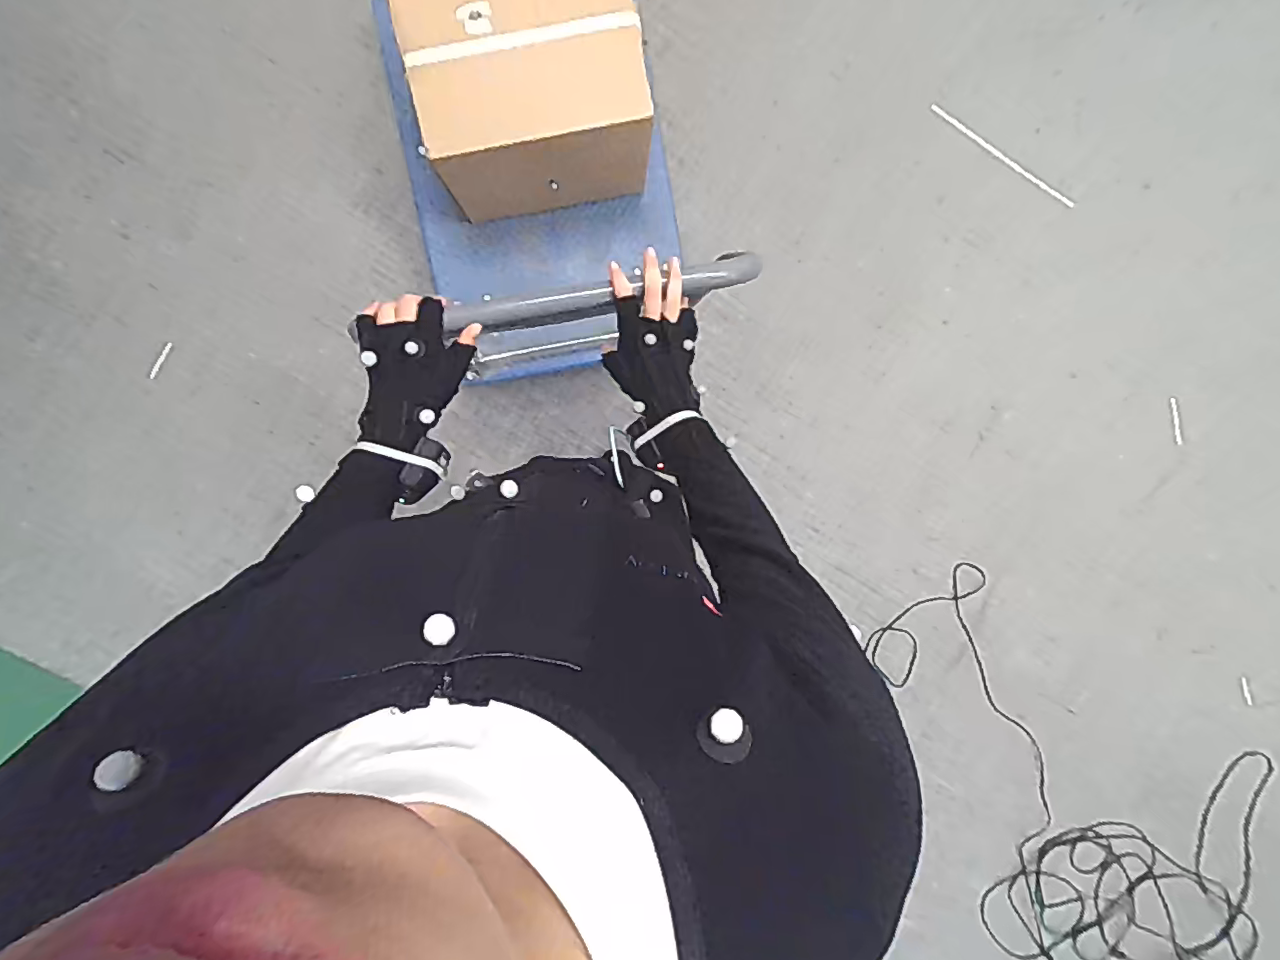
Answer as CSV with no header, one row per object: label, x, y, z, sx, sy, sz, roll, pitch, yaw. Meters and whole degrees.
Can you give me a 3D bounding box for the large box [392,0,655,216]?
large box,-0.206,-0.767,1.068,0.408,0.320,0.320,-13,97,-2
